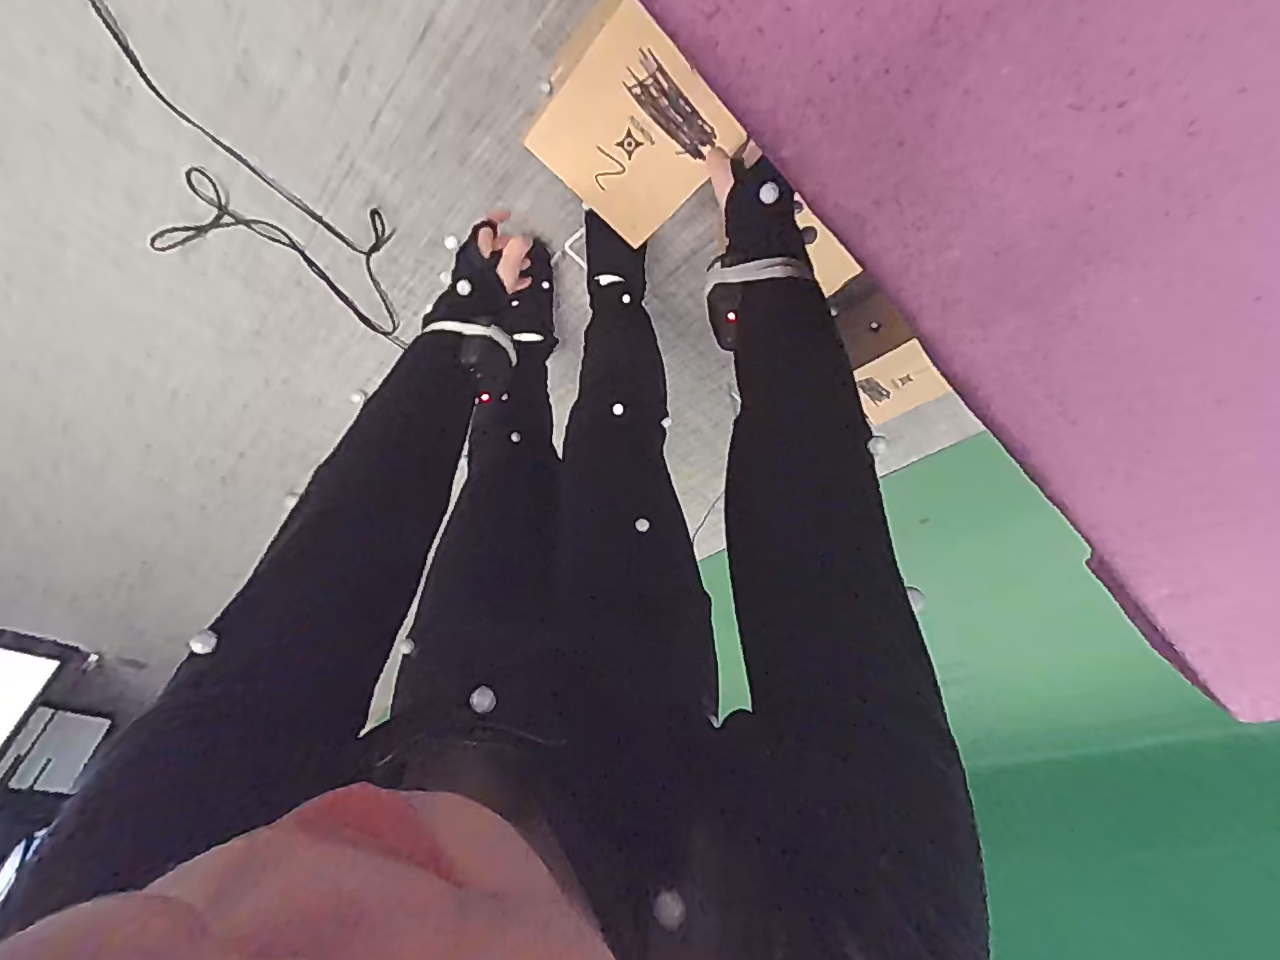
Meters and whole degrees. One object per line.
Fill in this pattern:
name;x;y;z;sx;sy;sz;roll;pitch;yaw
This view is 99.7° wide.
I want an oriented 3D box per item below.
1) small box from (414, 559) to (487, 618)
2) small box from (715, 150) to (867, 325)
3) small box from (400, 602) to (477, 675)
small box;-0.663;0.401;1.912;0.168;0.176;0.179;34;132;-31
small box;0.236;-0.399;0.882;0.179;0.176;0.168;33;133;-31
small box;-0.666;0.528;1.807;0.168;0.176;0.179;33;132;-30
